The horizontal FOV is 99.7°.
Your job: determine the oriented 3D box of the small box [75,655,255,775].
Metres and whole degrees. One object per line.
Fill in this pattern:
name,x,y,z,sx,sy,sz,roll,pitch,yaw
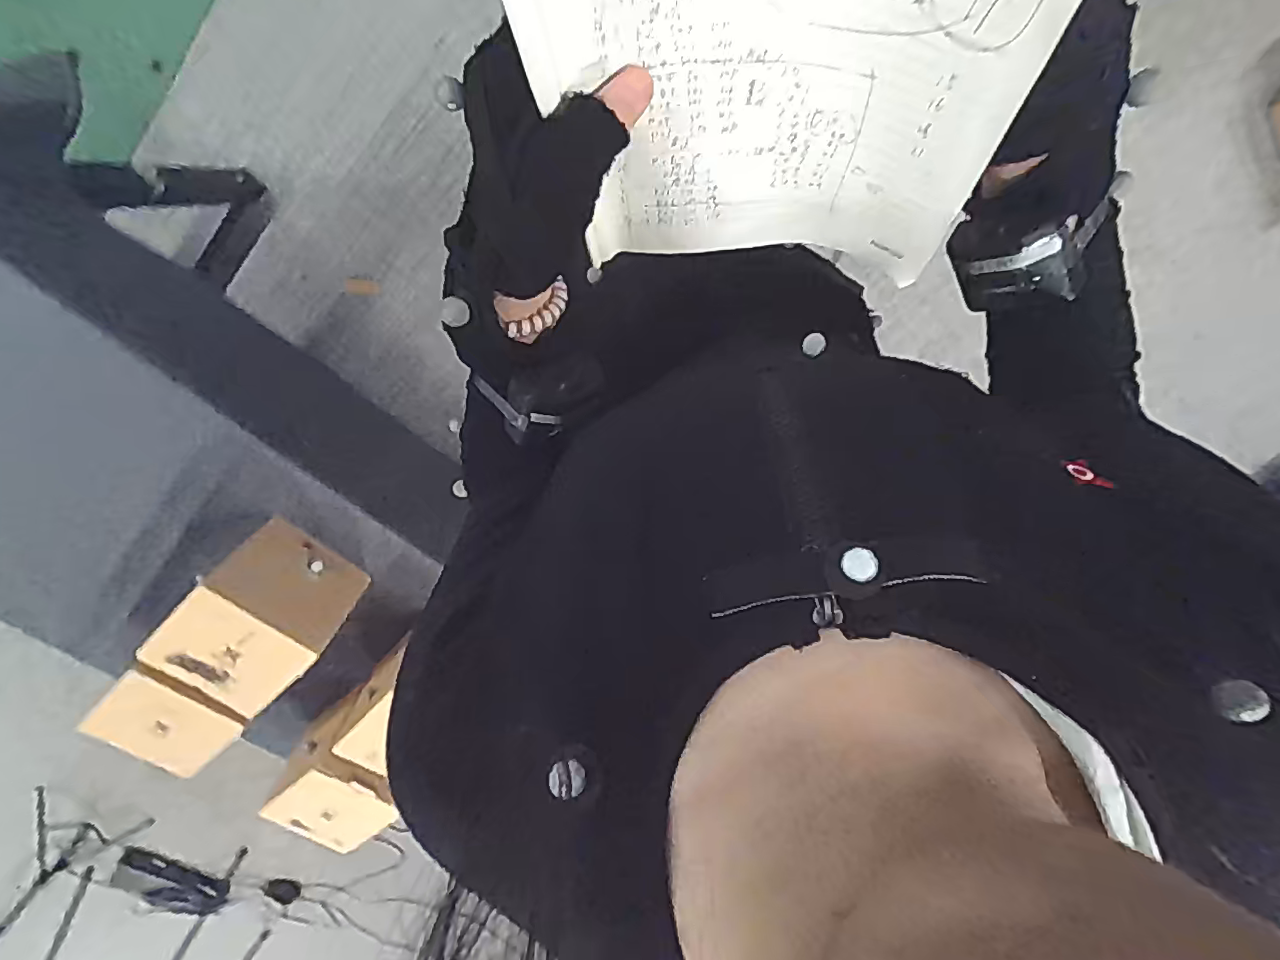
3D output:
small box,-0.686,0.310,0.839,0.179,0.176,0.168,-39,113,17

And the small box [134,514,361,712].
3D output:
small box,-0.540,0.184,0.771,0.179,0.176,0.168,-39,112,18
